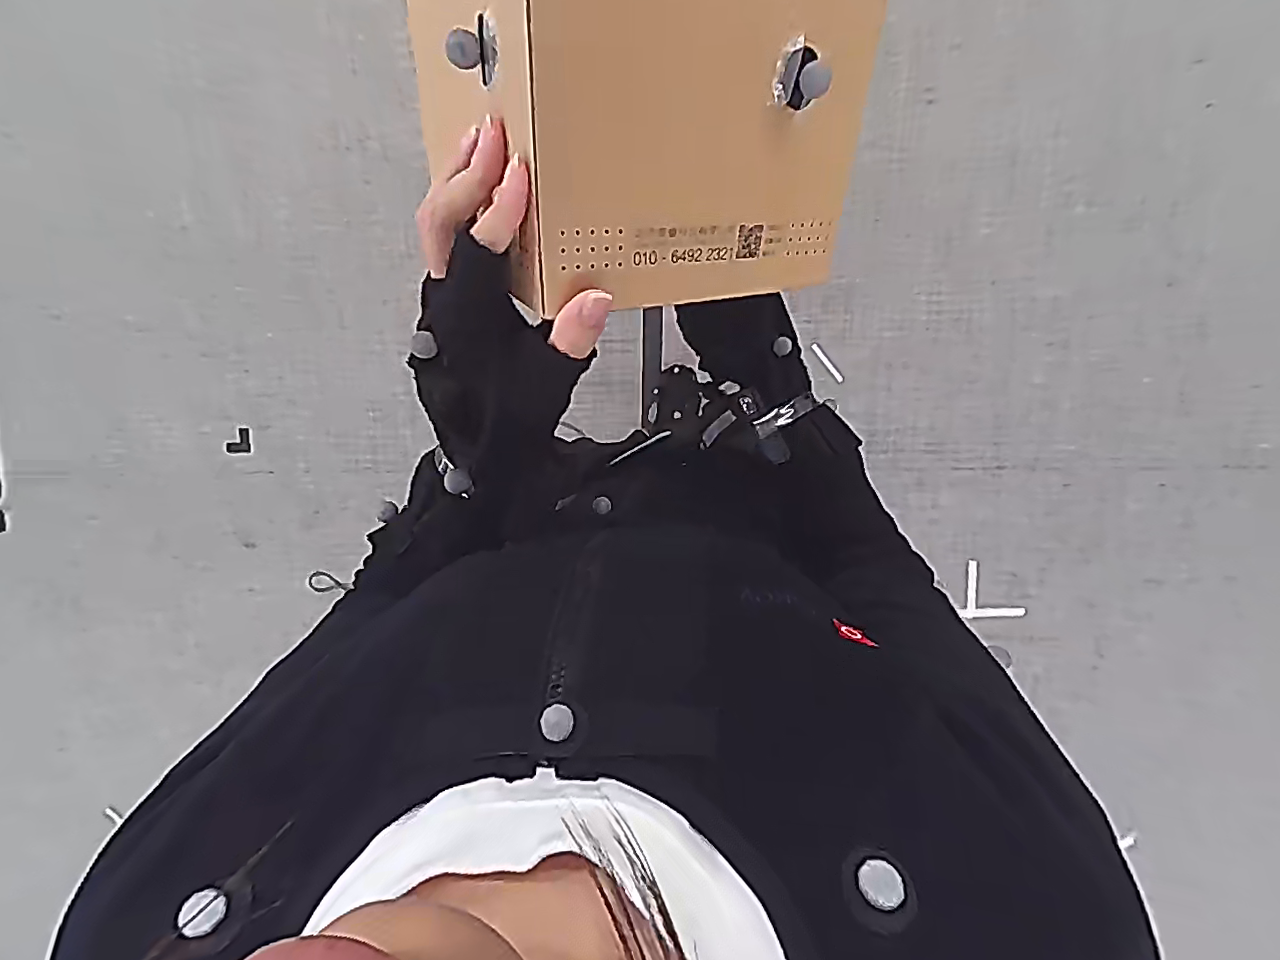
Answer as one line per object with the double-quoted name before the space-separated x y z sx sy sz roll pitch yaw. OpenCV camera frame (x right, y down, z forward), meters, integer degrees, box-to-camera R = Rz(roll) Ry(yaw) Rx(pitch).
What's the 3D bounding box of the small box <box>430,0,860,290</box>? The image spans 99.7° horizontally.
"small box" -0.004 -0.205 0.292 0.168 0.179 0.176 -15 127 -27
